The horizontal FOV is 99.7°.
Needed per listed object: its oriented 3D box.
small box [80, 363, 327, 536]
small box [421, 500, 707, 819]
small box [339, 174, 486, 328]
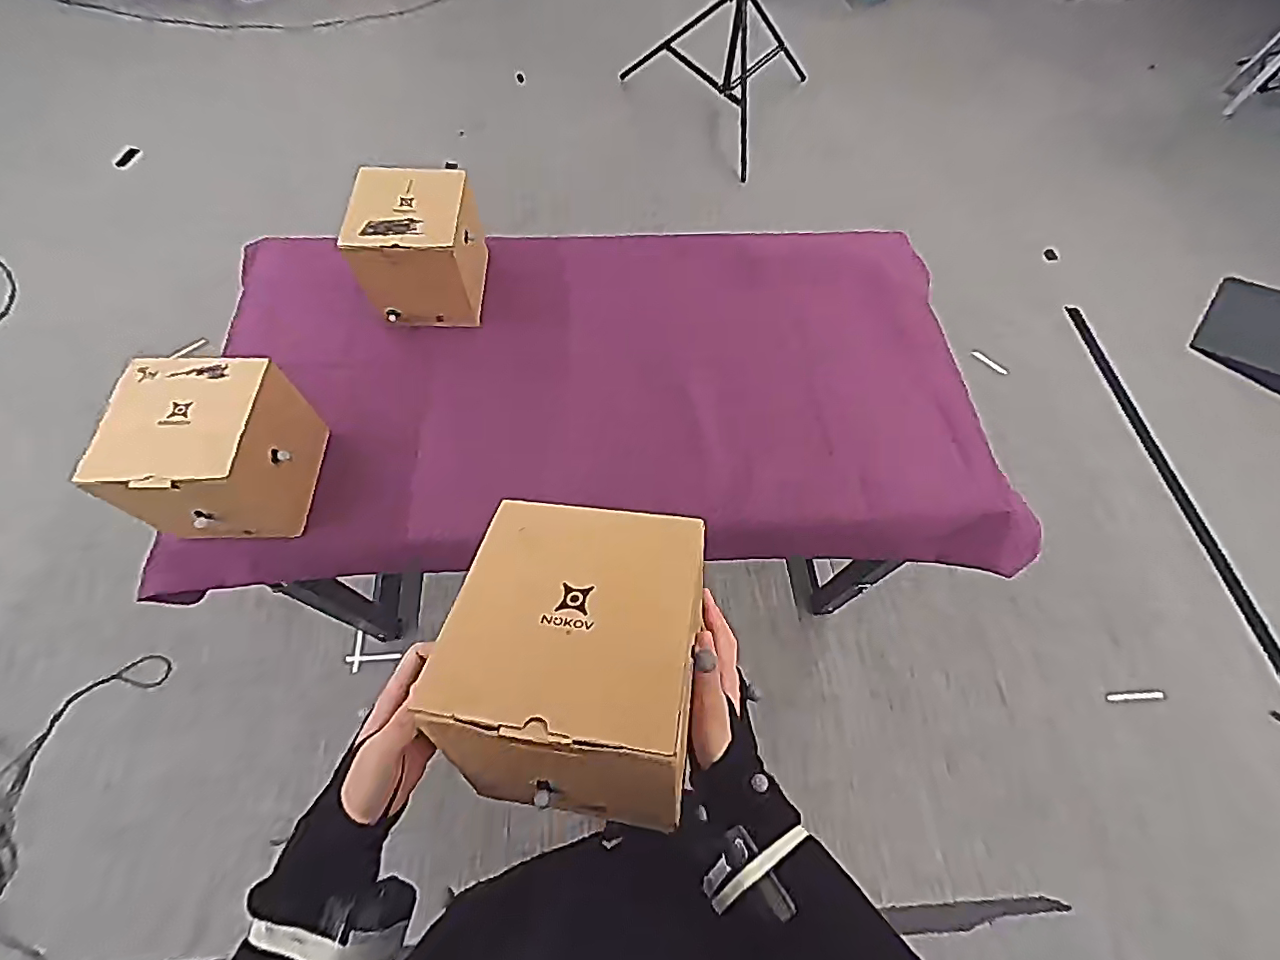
[{"bbox_3d":[-0.540,-0.031,0.704,0.168,0.176,0.179,-1,63,-4],"label":"small box"},{"bbox_3d":[-0.040,0.141,0.432,0.168,0.176,0.179,5,47,8],"label":"small box"},{"bbox_3d":[-0.356,-0.367,0.885,0.168,0.176,0.179,0,64,-3],"label":"small box"}]
